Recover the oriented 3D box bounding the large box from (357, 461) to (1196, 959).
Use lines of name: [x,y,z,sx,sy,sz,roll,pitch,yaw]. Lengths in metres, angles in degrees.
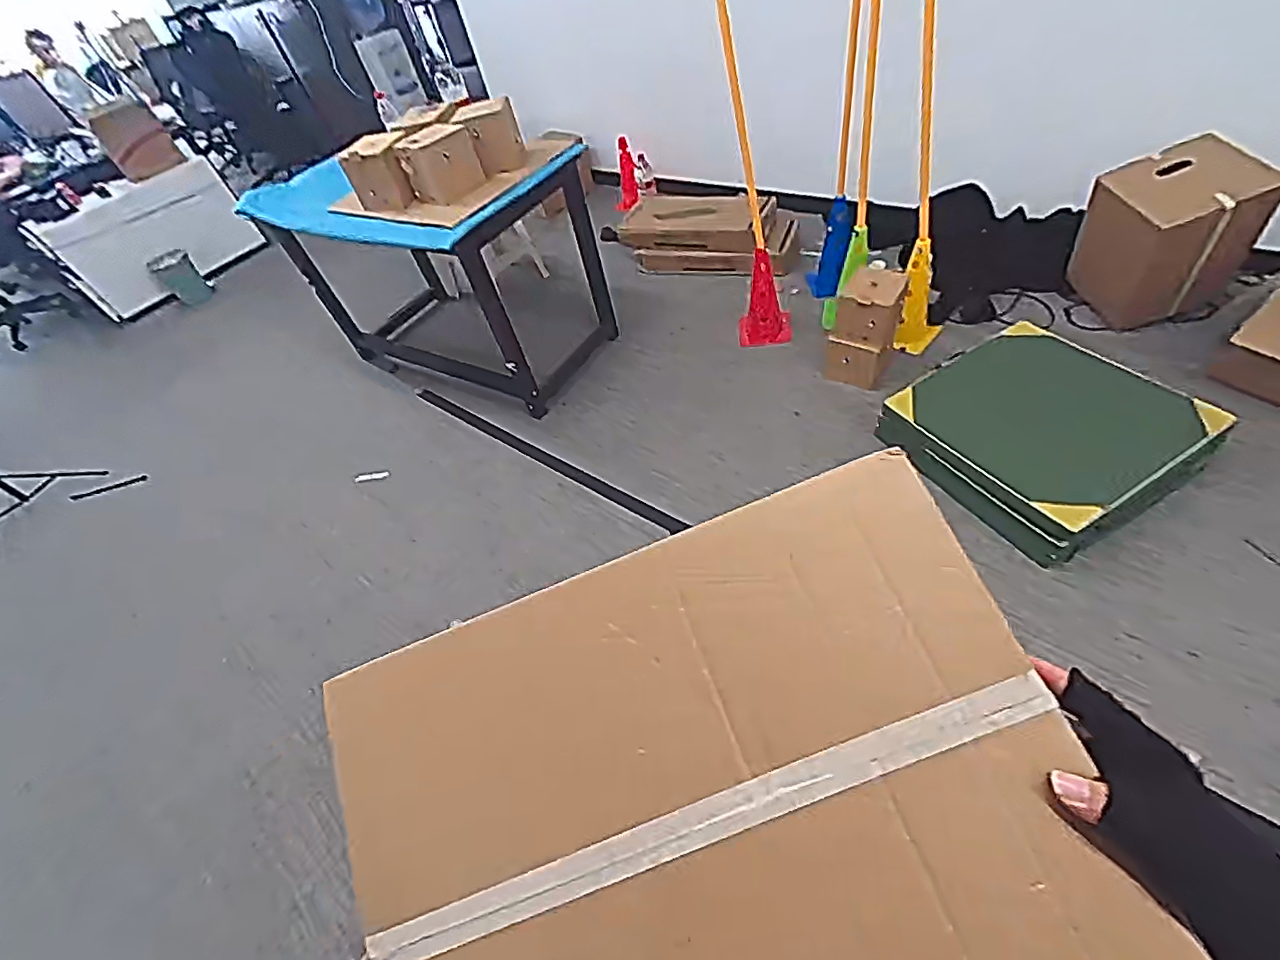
large box: [0.064,0.240,0.453,0.408,0.320,0.320,-23,72,2]
